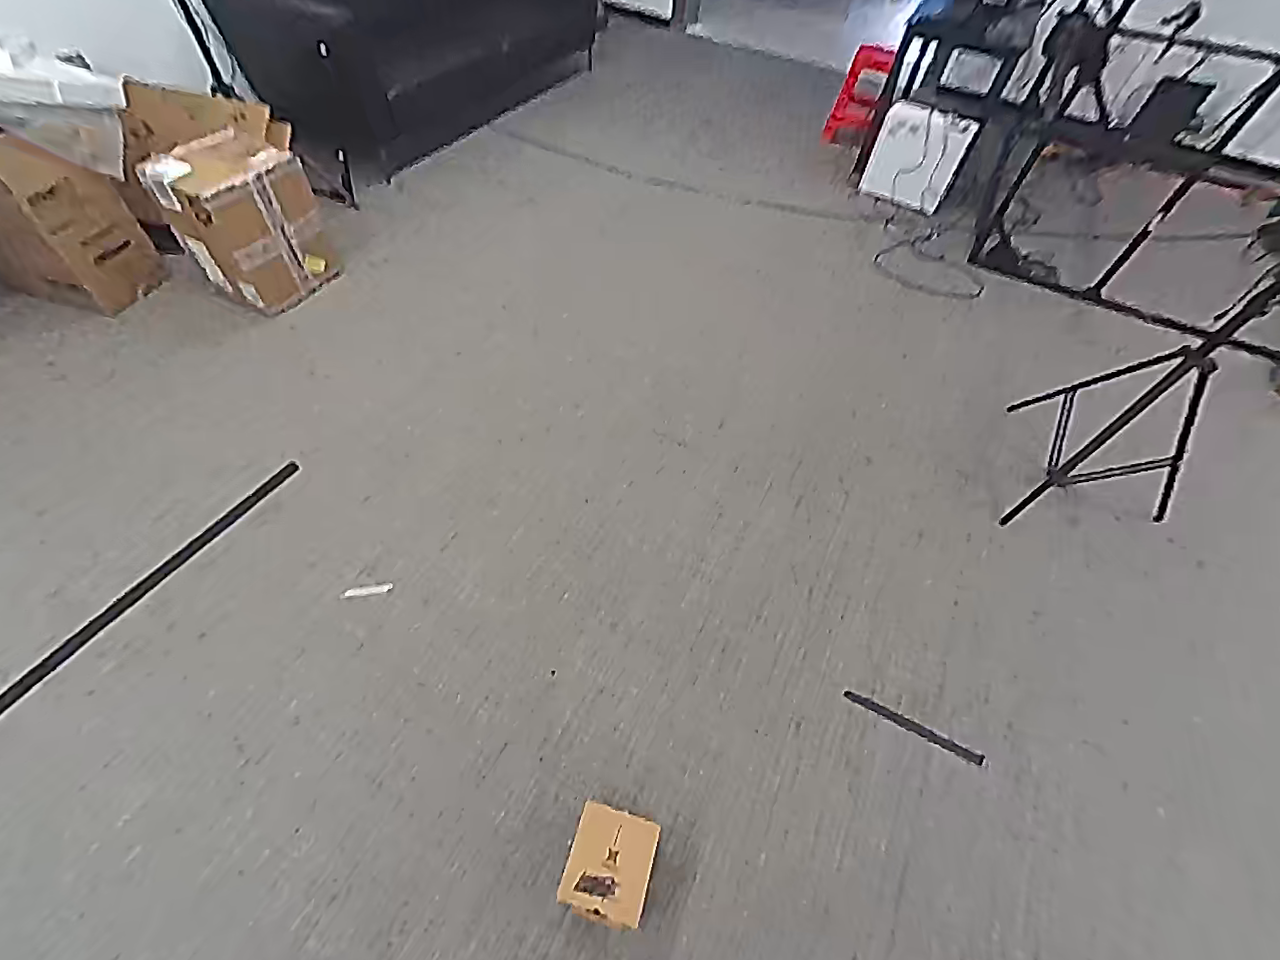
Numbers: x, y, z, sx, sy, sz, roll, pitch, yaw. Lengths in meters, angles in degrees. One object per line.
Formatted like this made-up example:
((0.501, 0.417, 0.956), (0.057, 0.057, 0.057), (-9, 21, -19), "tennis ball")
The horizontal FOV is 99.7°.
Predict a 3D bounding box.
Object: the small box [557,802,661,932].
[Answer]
((-0.062, 0.809, 1.136), (0.168, 0.176, 0.179), (16, 53, 7), "small box")
